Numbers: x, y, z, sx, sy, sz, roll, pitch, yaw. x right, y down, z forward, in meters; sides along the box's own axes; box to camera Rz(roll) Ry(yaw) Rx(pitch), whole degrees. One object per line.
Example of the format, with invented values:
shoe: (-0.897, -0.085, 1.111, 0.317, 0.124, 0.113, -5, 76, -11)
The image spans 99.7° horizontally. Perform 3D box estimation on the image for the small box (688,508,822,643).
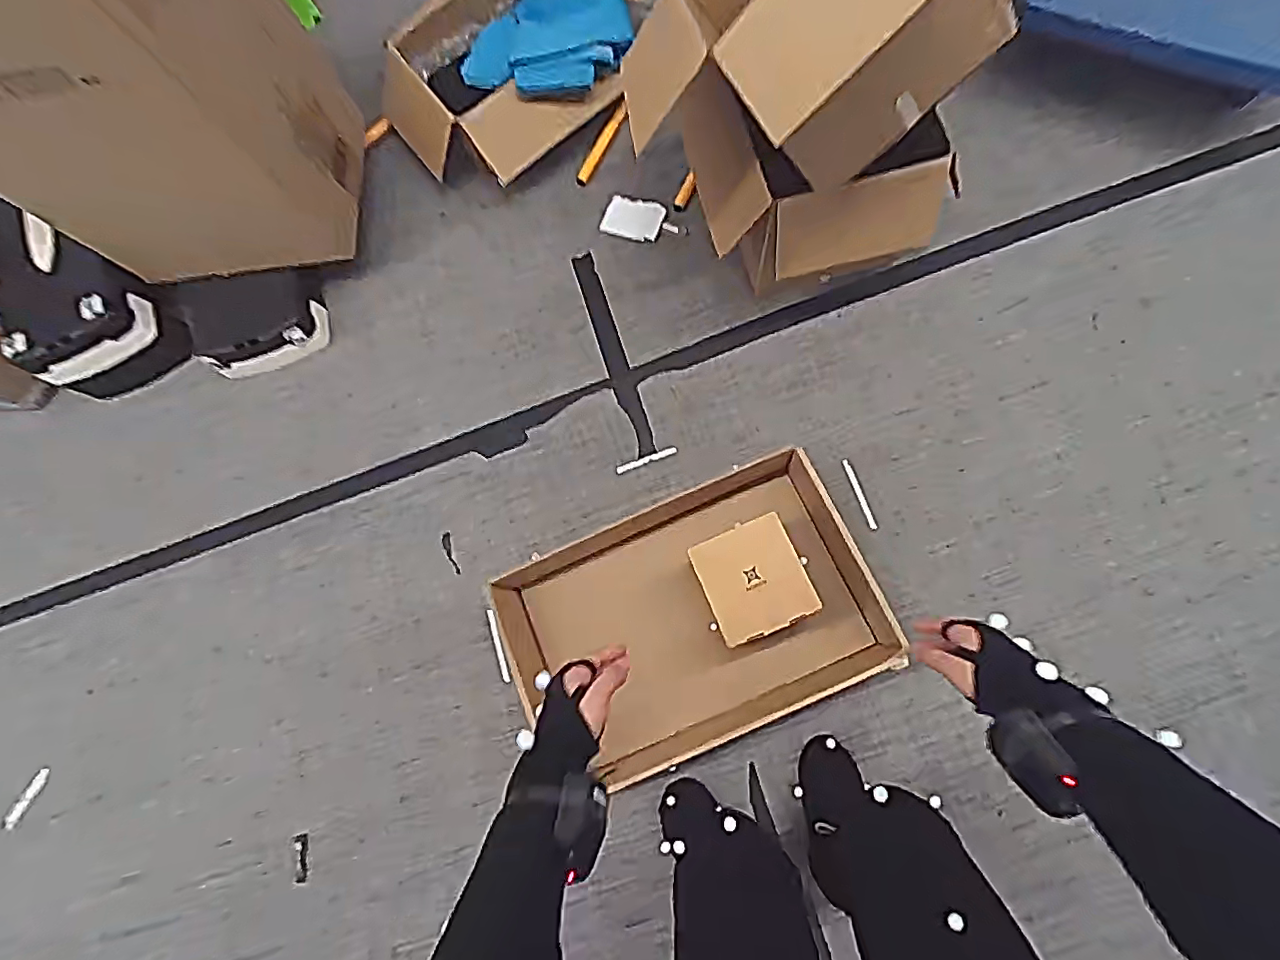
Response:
small box: (0.193, 0.172, 0.957, 0.168, 0.176, 0.179, -24, 76, 2)
